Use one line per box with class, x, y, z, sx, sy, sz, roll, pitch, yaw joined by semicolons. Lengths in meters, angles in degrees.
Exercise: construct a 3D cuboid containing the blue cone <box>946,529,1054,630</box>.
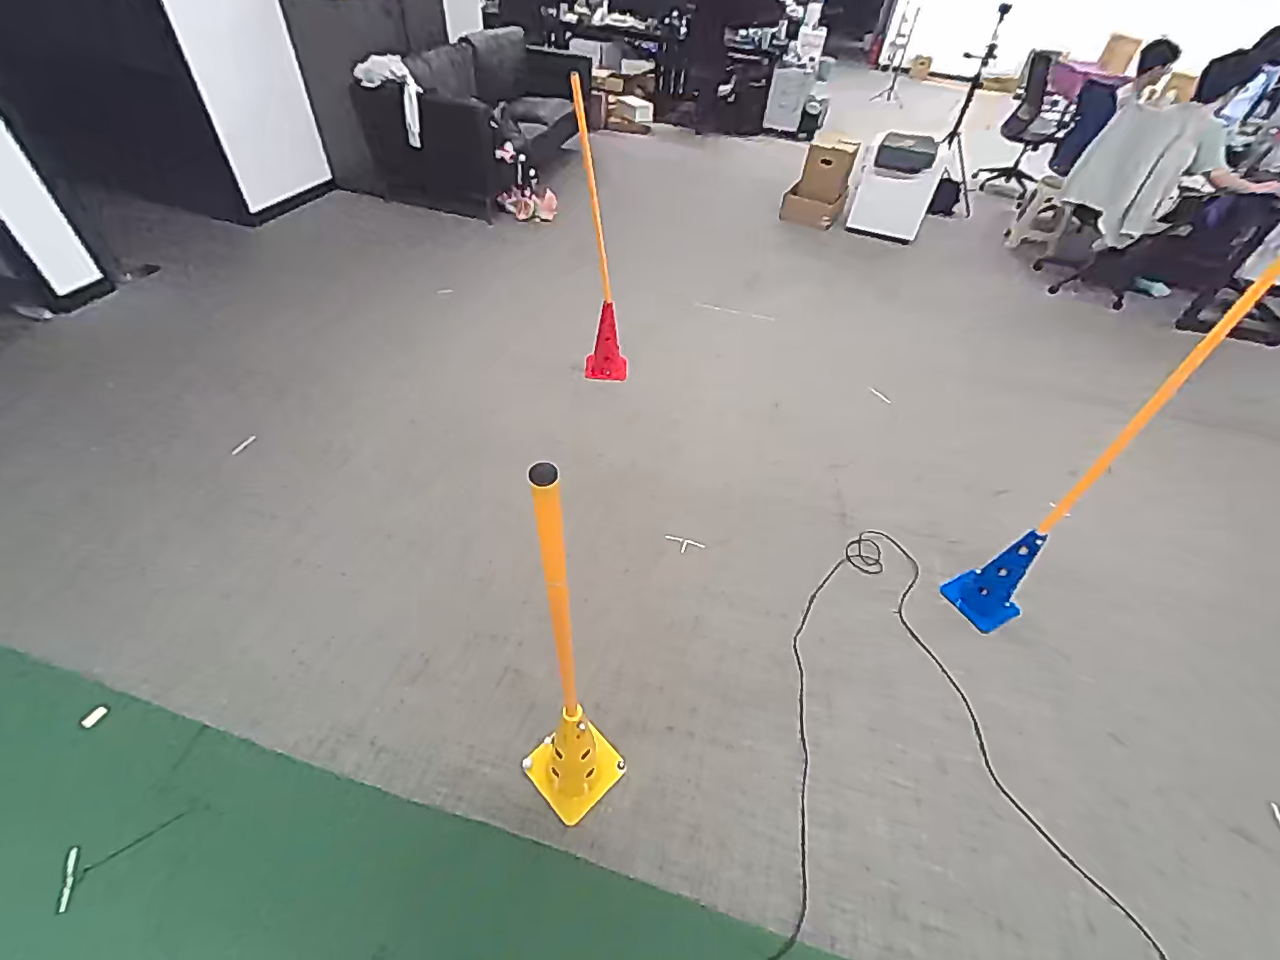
blue cone;1.173;0.286;1.720;0.193;0.380;0.192;-17;49;-25
